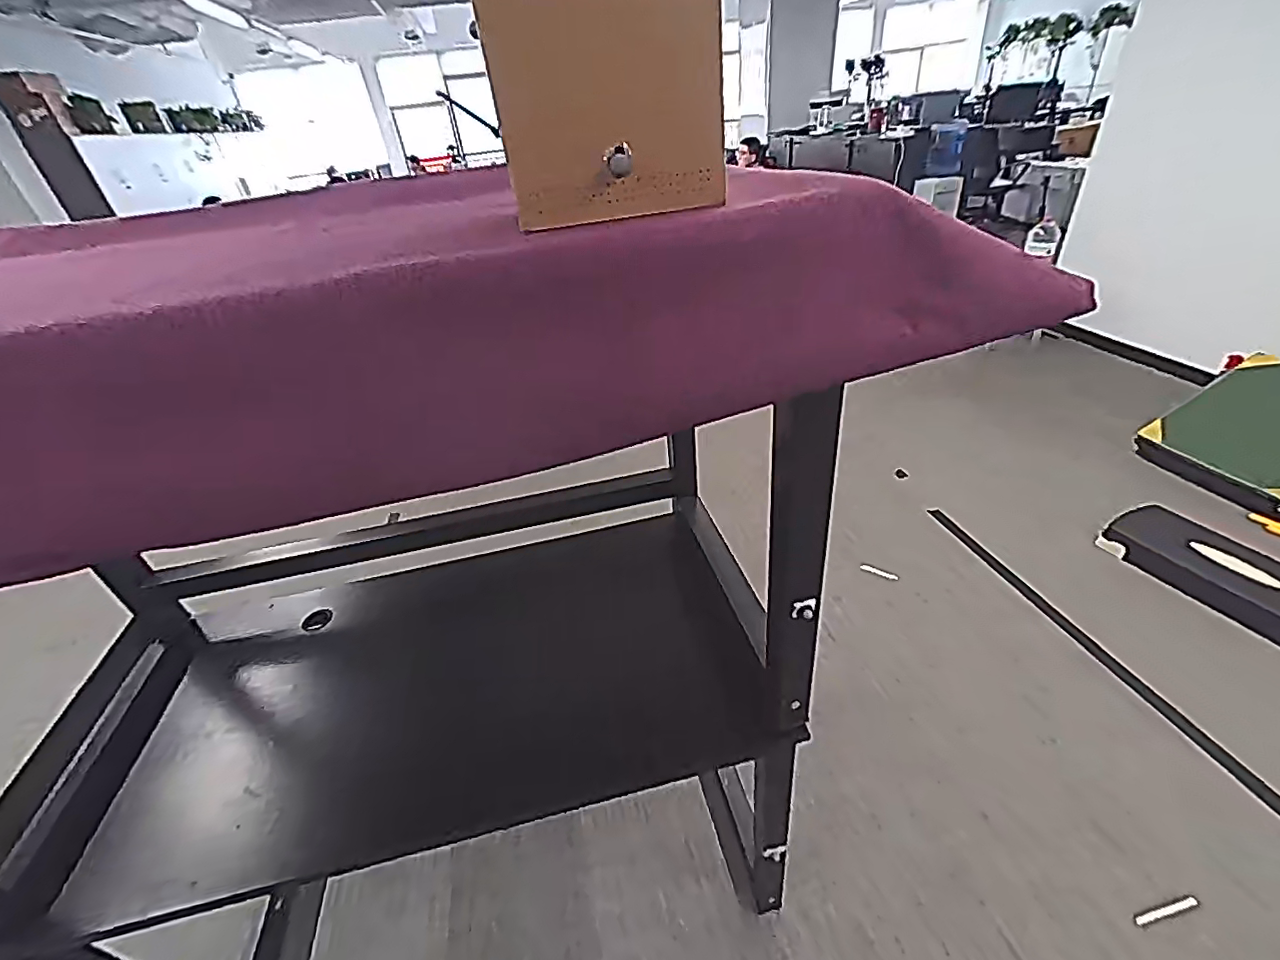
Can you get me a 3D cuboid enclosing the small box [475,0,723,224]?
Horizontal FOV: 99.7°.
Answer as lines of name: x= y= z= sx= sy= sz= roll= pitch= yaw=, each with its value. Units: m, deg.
small box: x=-0.030 y=-0.332 z=0.467 sx=0.179 sy=0.176 sz=0.168 roll=-9 pitch=33 yaw=-3
